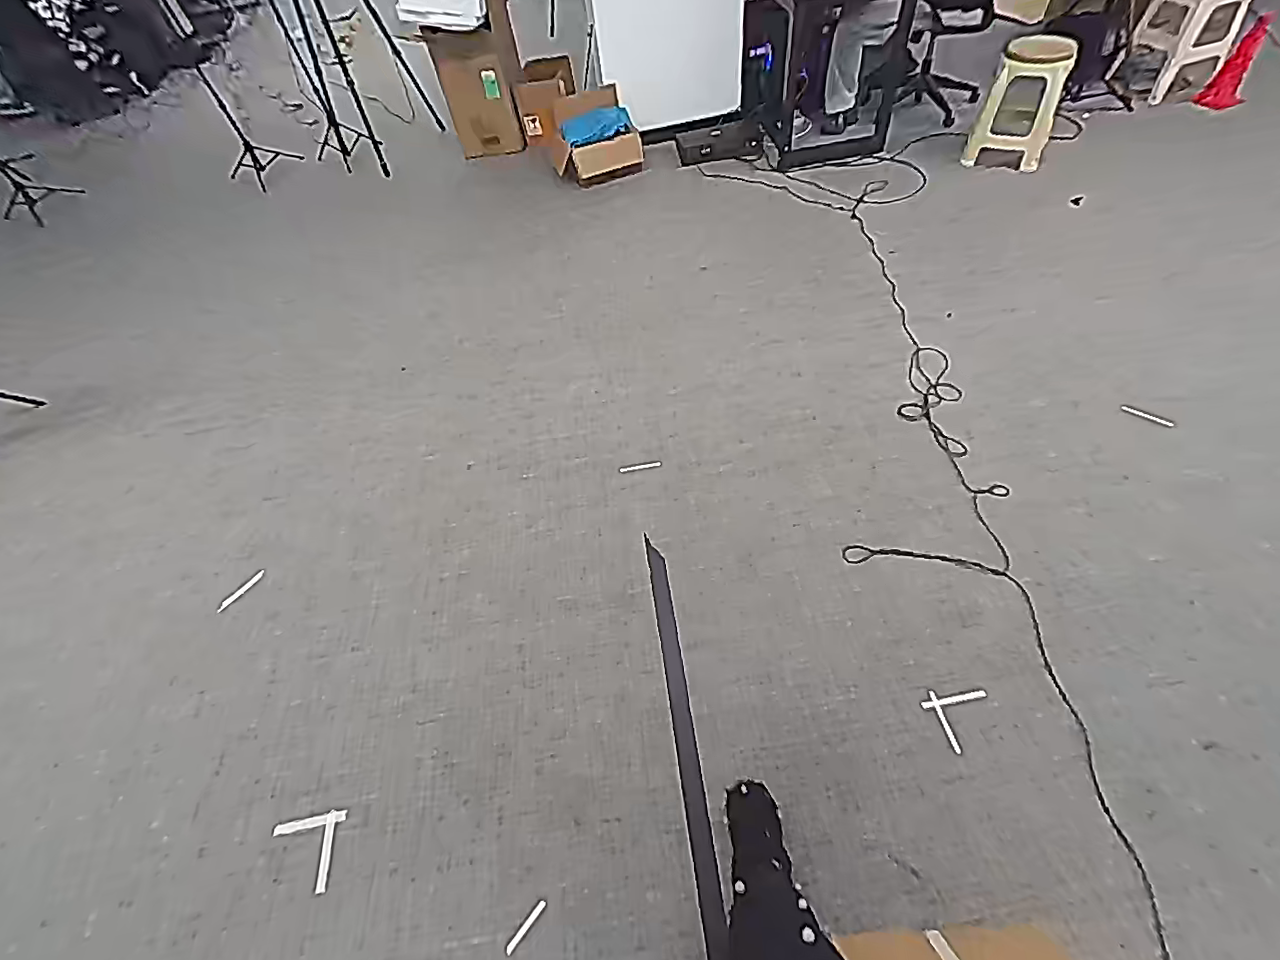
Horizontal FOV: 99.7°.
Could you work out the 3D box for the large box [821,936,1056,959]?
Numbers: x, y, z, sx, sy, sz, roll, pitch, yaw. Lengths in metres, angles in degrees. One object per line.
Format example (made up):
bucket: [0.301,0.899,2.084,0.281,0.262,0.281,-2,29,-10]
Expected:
large box: [0.413,0.777,0.561,0.320,0.408,0.320,-6,77,5]
